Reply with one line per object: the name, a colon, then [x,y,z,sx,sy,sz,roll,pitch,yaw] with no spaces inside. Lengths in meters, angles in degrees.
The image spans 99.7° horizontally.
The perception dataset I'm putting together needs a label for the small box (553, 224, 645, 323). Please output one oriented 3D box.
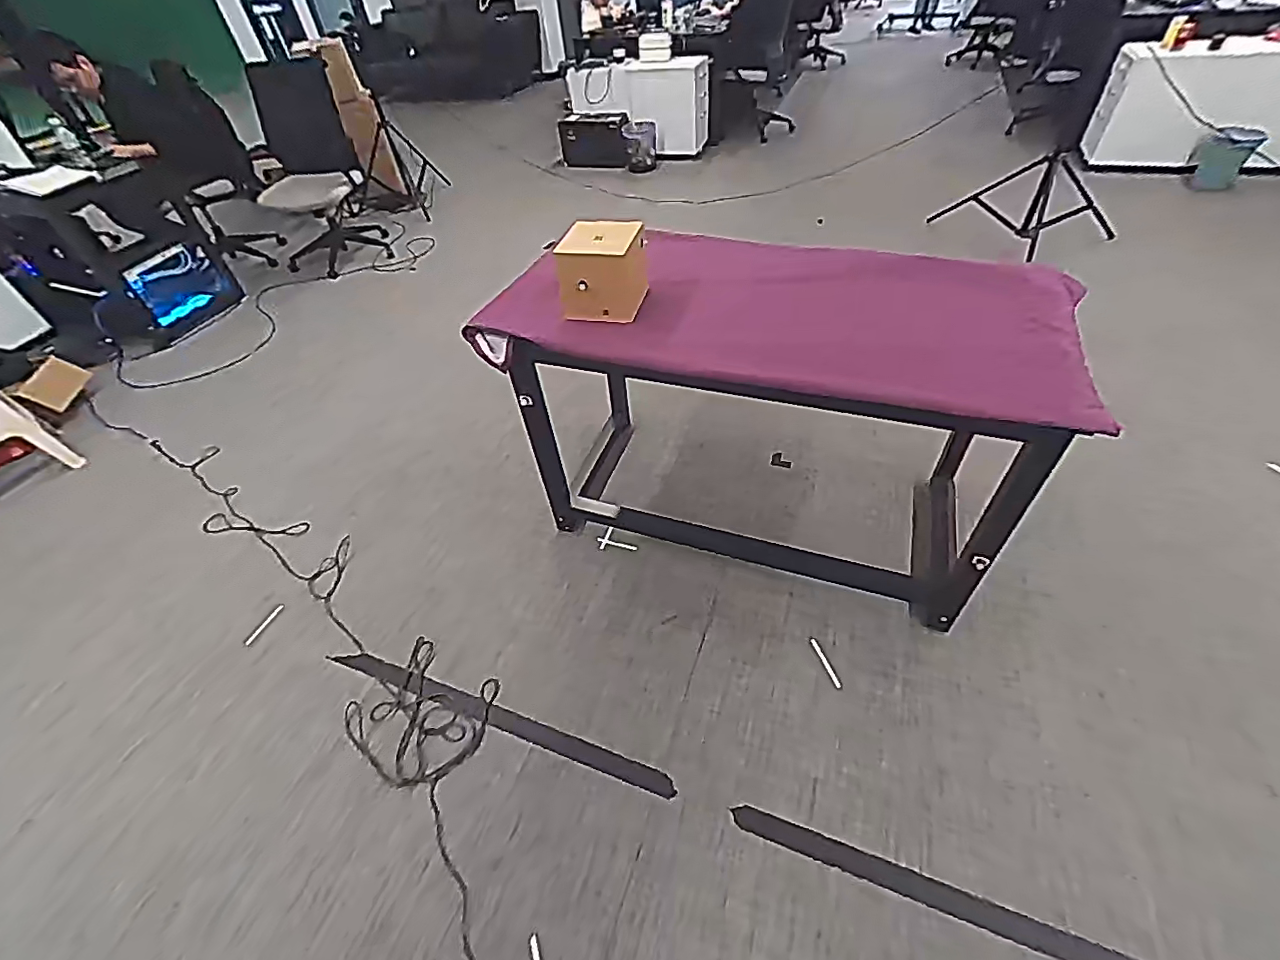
small box: [-0.087,-0.486,1.277,0.168,0.176,0.179,7,47,13]
